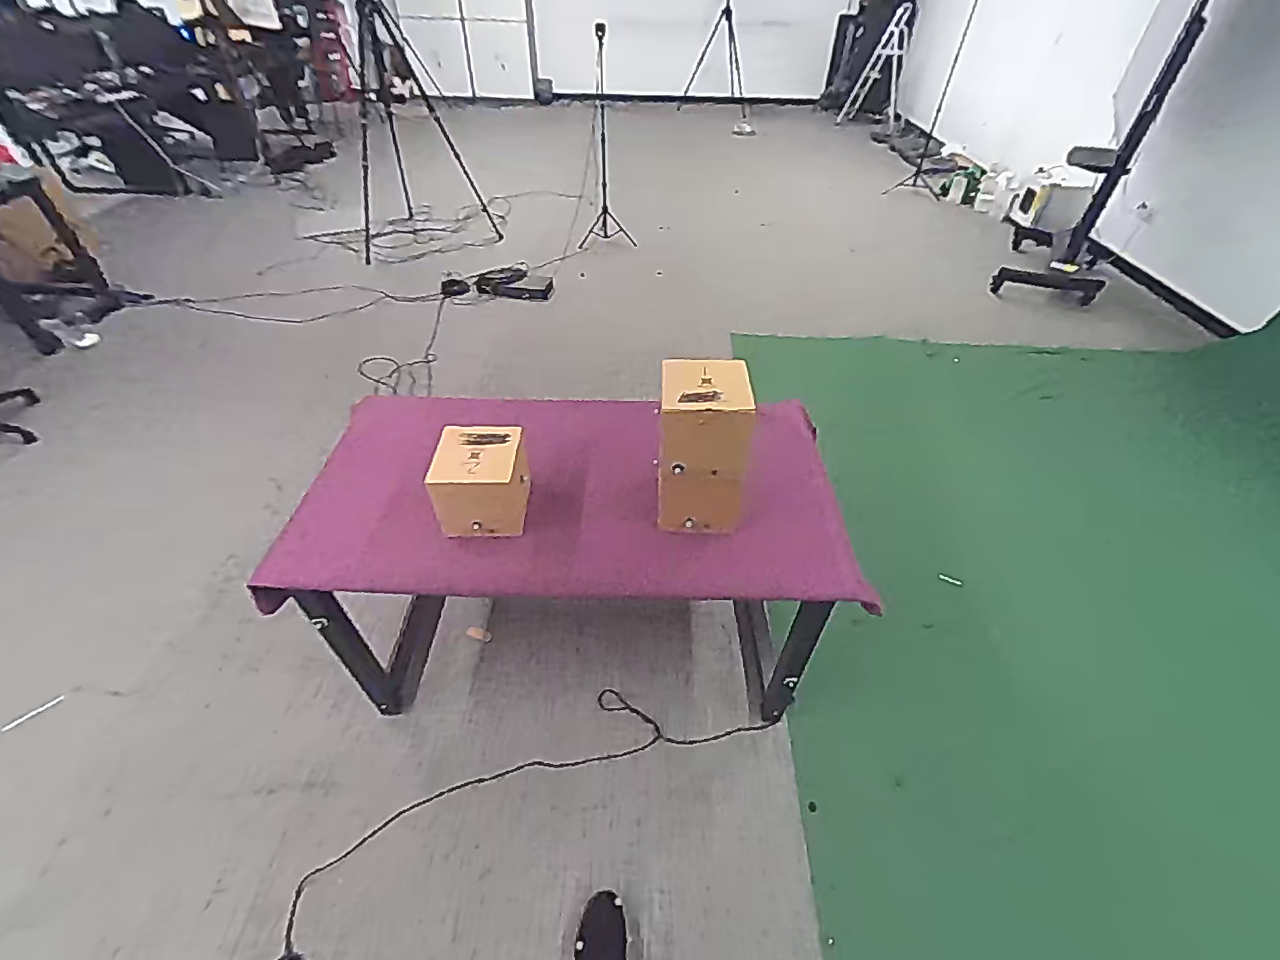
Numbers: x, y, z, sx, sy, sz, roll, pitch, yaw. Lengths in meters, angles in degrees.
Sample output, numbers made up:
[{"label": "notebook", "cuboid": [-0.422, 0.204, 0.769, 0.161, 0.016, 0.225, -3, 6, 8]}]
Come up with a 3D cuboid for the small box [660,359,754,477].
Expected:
[{"label": "small box", "cuboid": [0.124, -0.119, 1.056, 0.168, 0.176, 0.179, 1, 42, 2]}]

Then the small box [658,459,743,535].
[{"label": "small box", "cuboid": [0.125, -0.002, 1.171, 0.168, 0.176, 0.179, 1, 43, 2]}]
